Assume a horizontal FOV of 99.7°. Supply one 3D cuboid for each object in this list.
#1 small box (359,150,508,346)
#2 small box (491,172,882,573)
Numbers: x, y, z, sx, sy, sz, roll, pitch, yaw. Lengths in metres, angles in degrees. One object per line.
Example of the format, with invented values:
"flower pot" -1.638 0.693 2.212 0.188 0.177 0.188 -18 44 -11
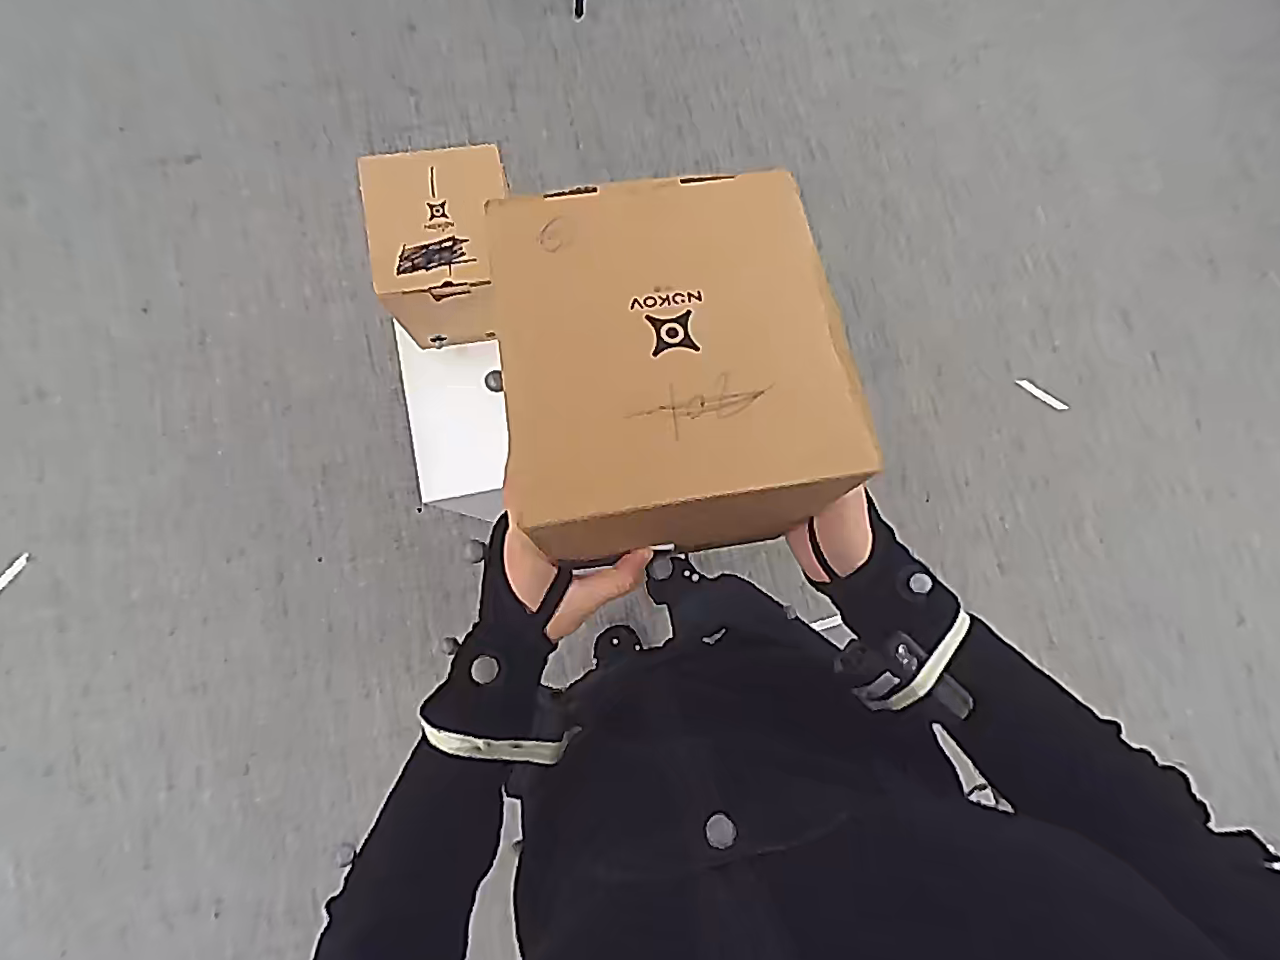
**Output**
"small box" -0.242 -0.289 0.710 0.168 0.176 0.179 -10 83 -6
"small box" 0.013 -0.050 0.338 0.168 0.176 0.179 -9 74 -5
